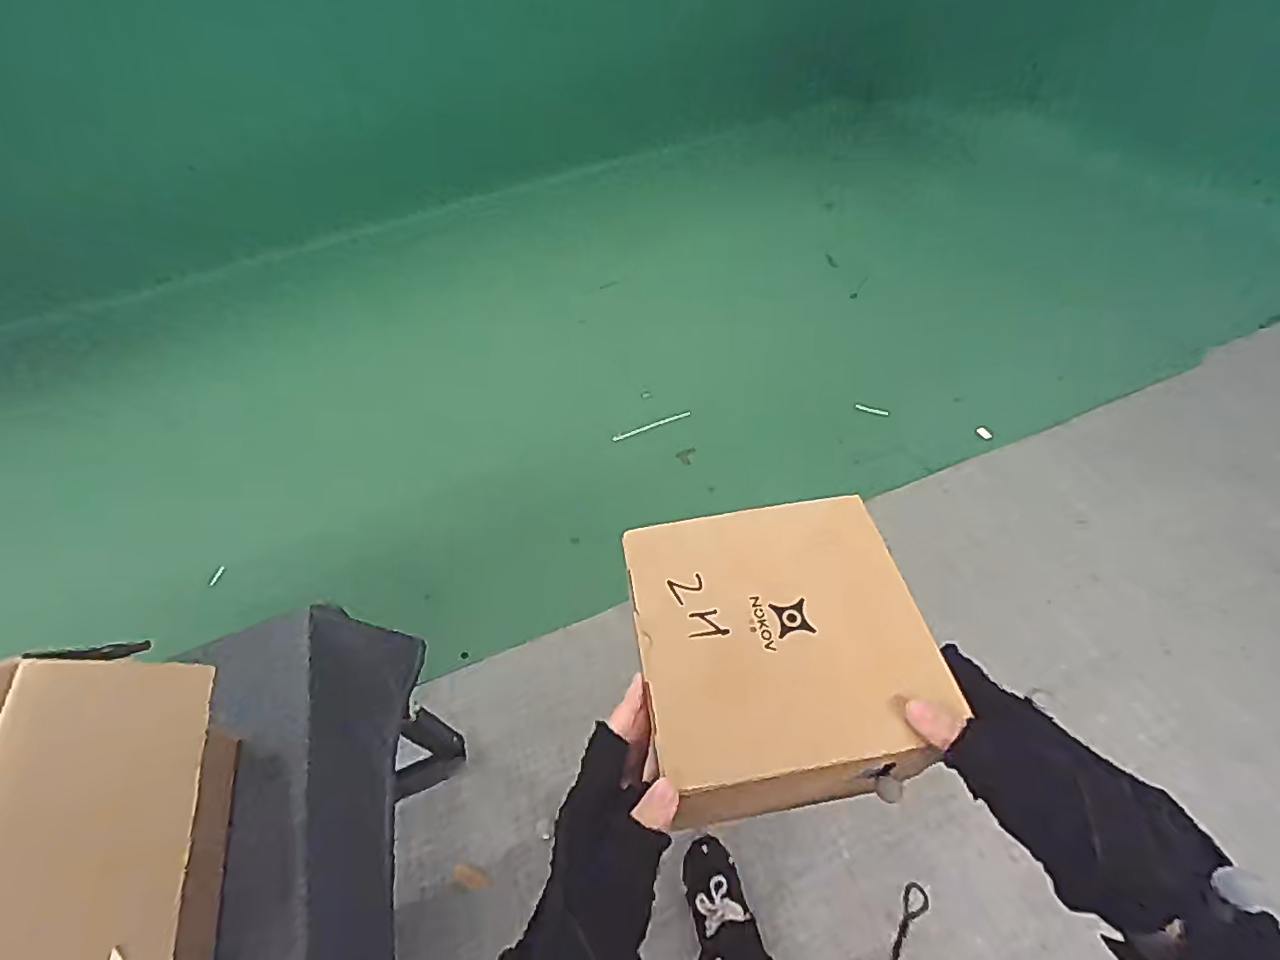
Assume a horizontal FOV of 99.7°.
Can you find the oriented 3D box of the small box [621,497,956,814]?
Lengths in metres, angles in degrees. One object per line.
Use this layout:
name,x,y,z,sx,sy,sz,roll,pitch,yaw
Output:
small box,0.082,0.134,0.404,0.179,0.176,0.168,-7,51,-4
